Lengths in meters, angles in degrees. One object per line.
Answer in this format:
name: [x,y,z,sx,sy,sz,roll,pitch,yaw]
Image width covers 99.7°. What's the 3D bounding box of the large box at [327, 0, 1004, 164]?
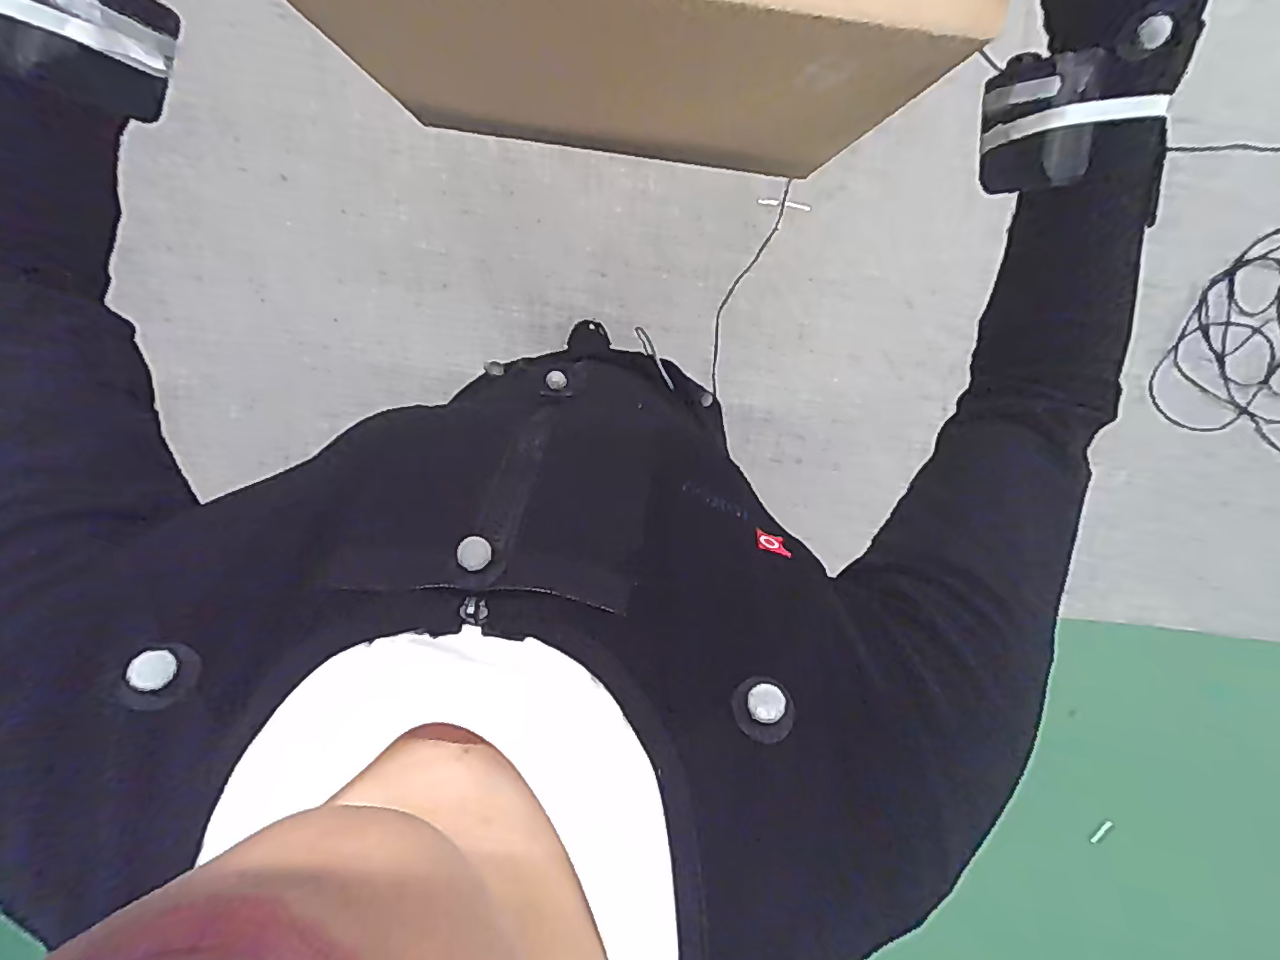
large box: [0.005,-0.450,0.377,0.408,0.320,0.320,5,108,-4]
